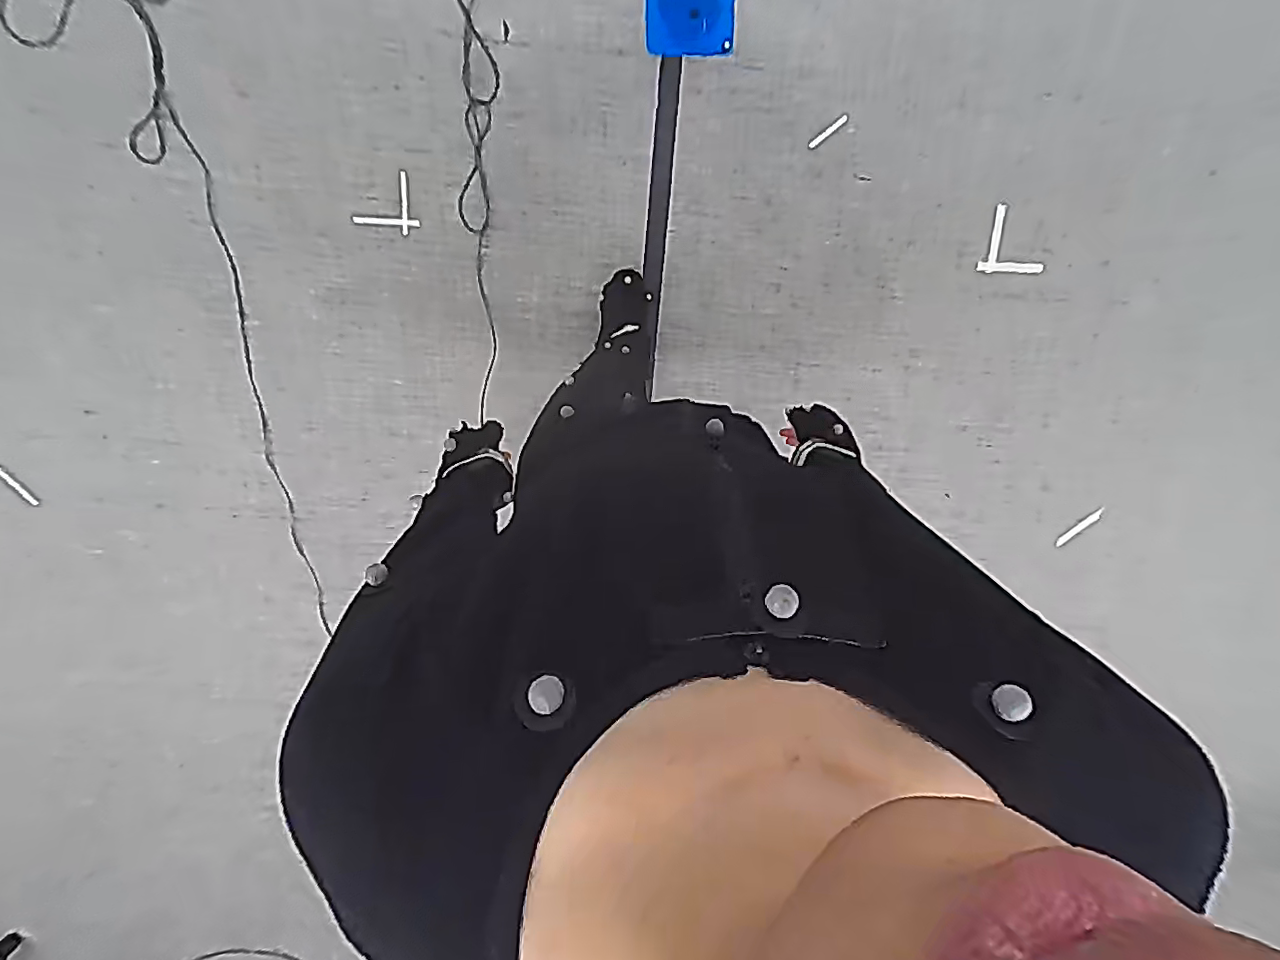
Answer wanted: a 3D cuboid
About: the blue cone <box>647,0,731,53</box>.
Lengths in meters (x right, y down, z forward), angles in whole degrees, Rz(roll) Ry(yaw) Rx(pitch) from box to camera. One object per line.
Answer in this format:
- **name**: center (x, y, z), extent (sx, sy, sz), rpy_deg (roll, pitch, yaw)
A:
- **blue cone**: center (0.123, -1.021, 1.045), extent (0.192, 0.380, 0.193), rpy_deg (0, 105, -4)
